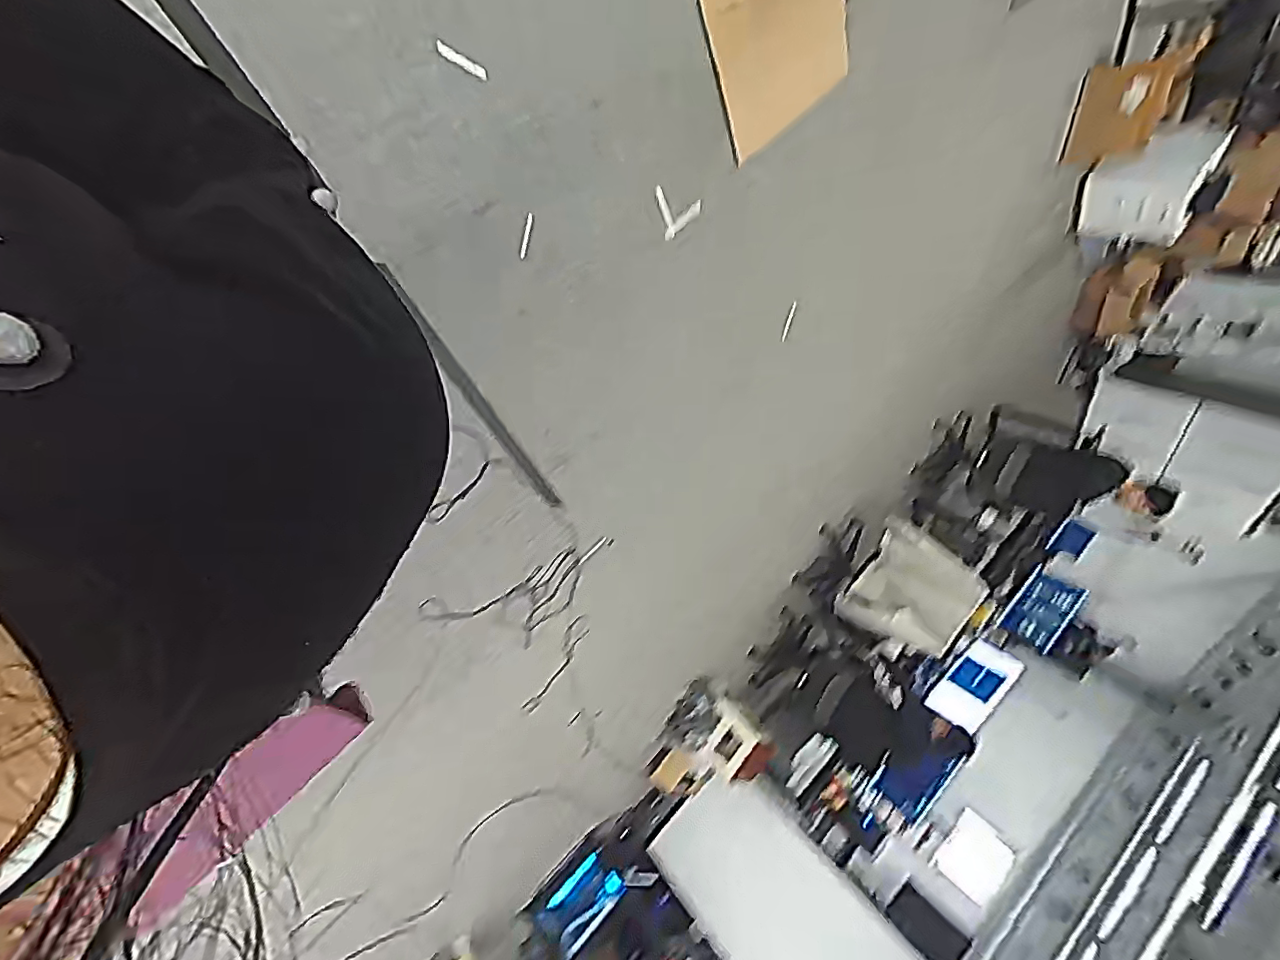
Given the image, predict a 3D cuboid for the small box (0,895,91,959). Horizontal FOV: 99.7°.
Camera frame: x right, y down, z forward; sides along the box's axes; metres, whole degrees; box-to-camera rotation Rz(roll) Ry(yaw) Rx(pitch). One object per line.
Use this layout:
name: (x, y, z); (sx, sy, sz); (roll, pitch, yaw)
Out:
small box: (-0.664, 0.531, 0.497); (0.179, 0.176, 0.168); (-43, 137, -13)

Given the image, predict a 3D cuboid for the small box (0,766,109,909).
small box: (-0.761, 0.457, 0.607); (0.179, 0.176, 0.168); (-43, 137, -13)
